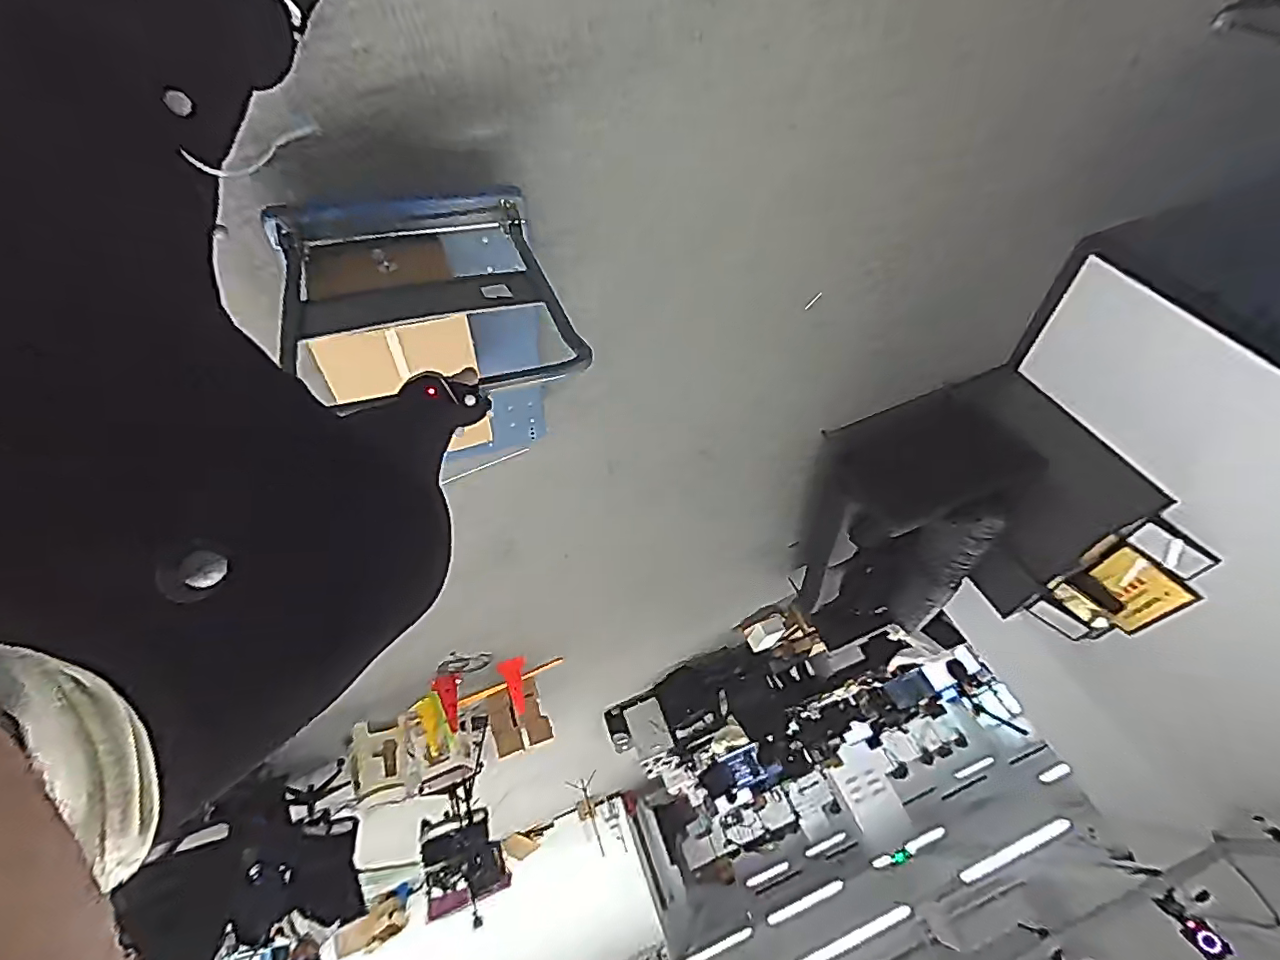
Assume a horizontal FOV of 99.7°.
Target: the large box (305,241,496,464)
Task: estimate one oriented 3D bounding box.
[{"bbox_3d":[-0.579,-0.312,1.347,0.320,0.320,0.408,-16,145,-16],"label":"large box"}]
